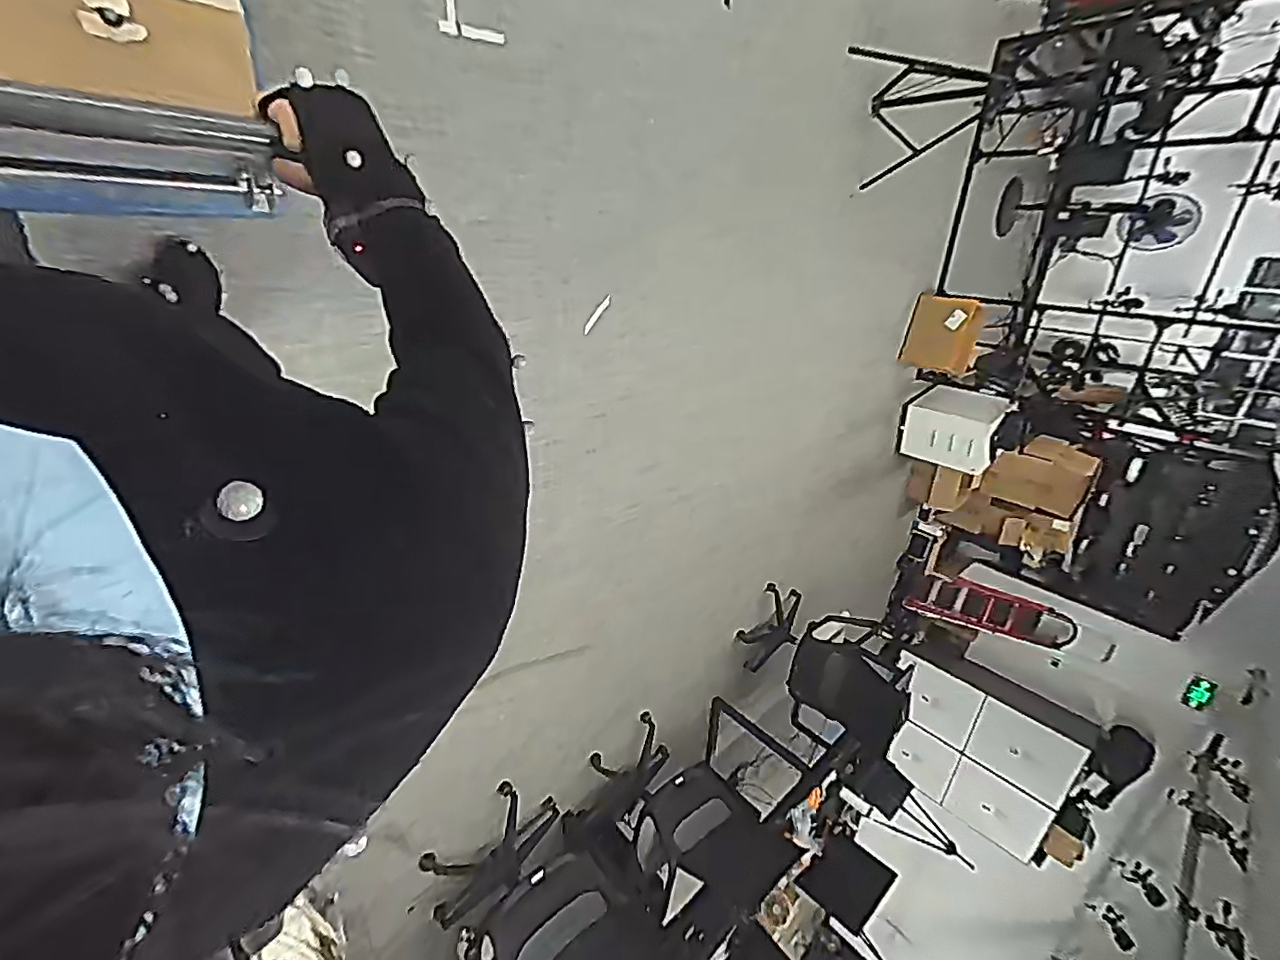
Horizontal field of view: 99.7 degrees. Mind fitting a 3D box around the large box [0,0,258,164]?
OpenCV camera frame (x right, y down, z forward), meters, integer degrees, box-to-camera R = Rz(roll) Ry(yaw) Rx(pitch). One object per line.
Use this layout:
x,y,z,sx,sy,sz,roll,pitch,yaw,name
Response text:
-0.780,-0.603,0.672,0.408,0.320,0.320,-19,122,-41,large box
